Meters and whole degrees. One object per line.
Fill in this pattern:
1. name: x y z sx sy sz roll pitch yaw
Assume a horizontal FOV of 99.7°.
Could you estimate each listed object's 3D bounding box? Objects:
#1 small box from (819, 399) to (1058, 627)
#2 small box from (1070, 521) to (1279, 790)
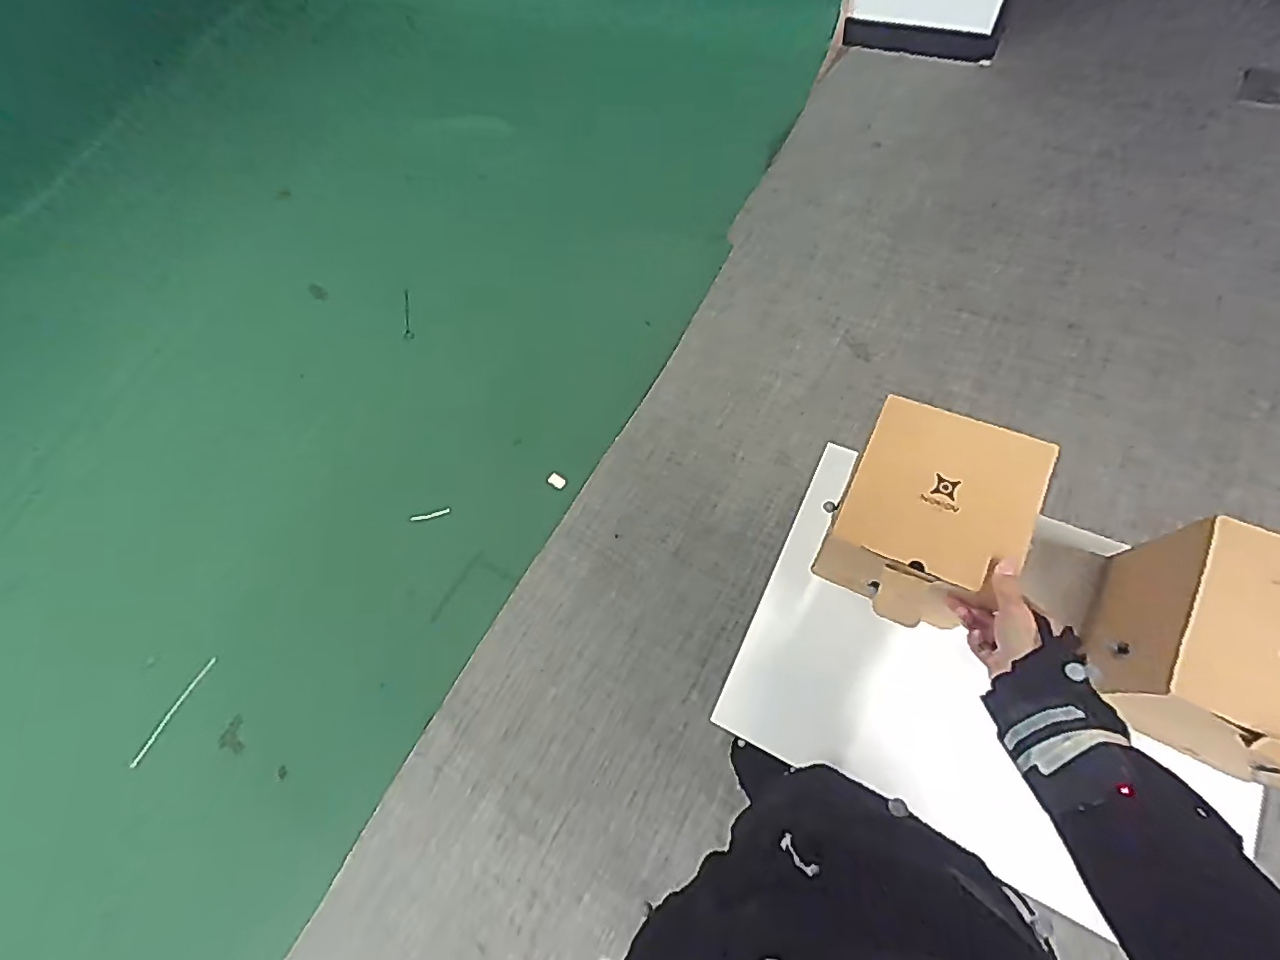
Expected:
1. small box: 0.311 0.044 0.601 0.168 0.176 0.179 22 75 19
2. small box: 0.550 0.169 0.504 0.168 0.176 0.179 25 75 19
